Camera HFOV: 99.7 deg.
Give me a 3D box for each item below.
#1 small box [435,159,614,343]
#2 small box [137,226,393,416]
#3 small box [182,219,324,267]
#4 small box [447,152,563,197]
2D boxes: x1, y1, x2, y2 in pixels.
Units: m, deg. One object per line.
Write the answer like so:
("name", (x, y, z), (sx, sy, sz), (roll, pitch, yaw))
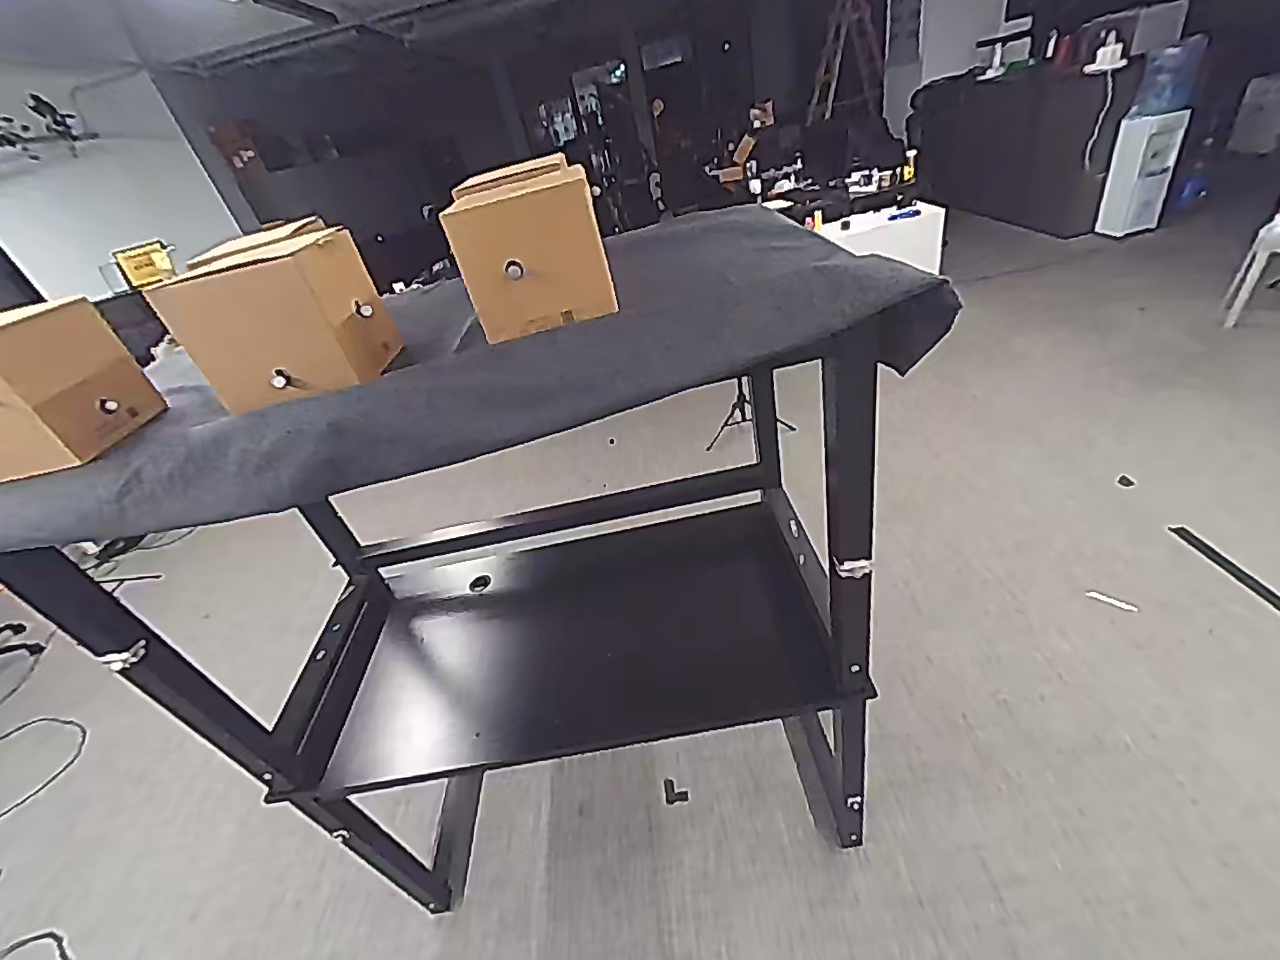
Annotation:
("small box", (-0.134, -0.290, 0.692), (0.168, 0.176, 0.179), (-14, 34, 2))
("small box", (-0.447, -0.201, 0.685), (0.179, 0.176, 0.168), (-12, 33, 2))
("small box", (-0.618, -0.333, 0.938), (0.168, 0.176, 0.179), (-17, 35, -1))
("small box", (-0.199, -0.442, 0.928), (0.179, 0.176, 0.168), (-13, 35, 4))
